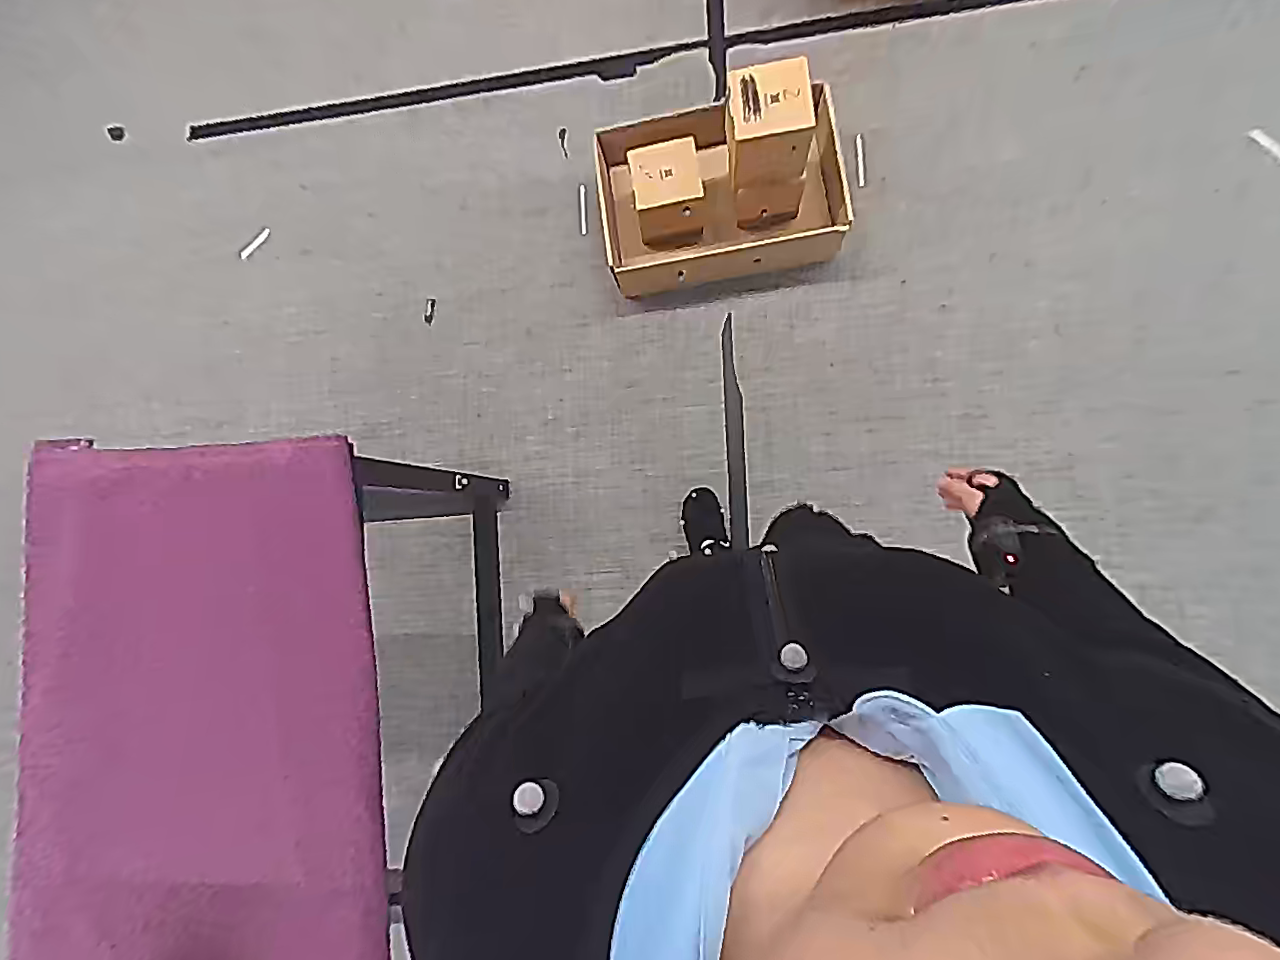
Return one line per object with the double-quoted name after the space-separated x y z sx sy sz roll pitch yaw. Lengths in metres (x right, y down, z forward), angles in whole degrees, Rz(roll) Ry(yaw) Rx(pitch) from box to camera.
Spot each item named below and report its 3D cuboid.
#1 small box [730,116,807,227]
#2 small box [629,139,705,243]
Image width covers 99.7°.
0.330 -0.801 1.420 0.168 0.176 0.179 -8 85 8 "small box"
0.074 -0.764 1.447 0.179 0.176 0.168 -10 84 5 "small box"
